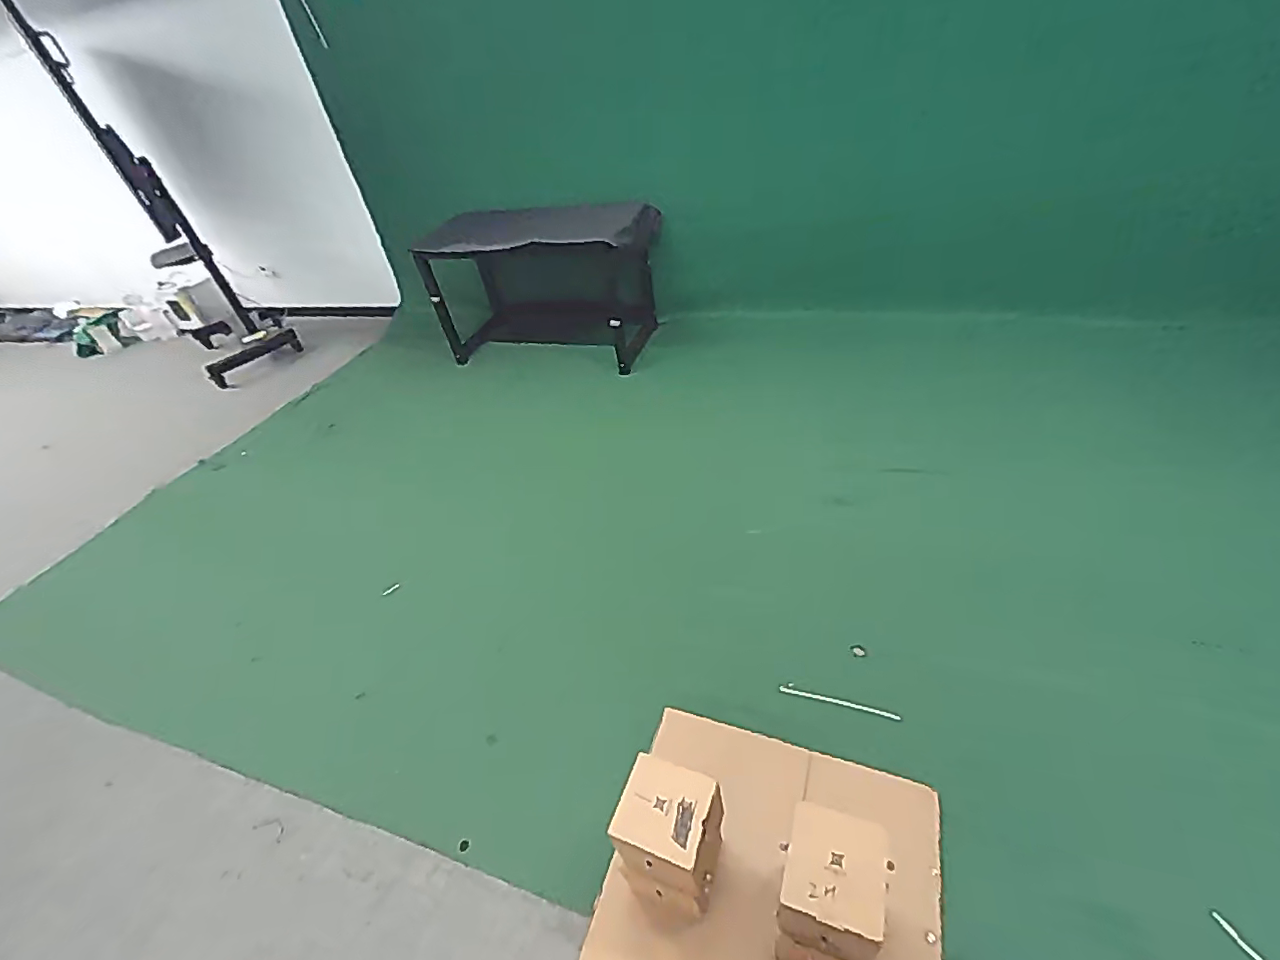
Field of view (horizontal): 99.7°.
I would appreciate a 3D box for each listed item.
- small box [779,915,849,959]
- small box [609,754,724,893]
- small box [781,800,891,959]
[{"bbox_3d":[0.375,0.869,1.088,0.168,0.176,0.179,6,43,20],"label":"small box"},{"bbox_3d":[0.064,0.699,1.098,0.179,0.176,0.168,8,43,25],"label":"small box"},{"bbox_3d":[0.356,0.735,0.992,0.168,0.176,0.179,8,43,22],"label":"small box"}]
